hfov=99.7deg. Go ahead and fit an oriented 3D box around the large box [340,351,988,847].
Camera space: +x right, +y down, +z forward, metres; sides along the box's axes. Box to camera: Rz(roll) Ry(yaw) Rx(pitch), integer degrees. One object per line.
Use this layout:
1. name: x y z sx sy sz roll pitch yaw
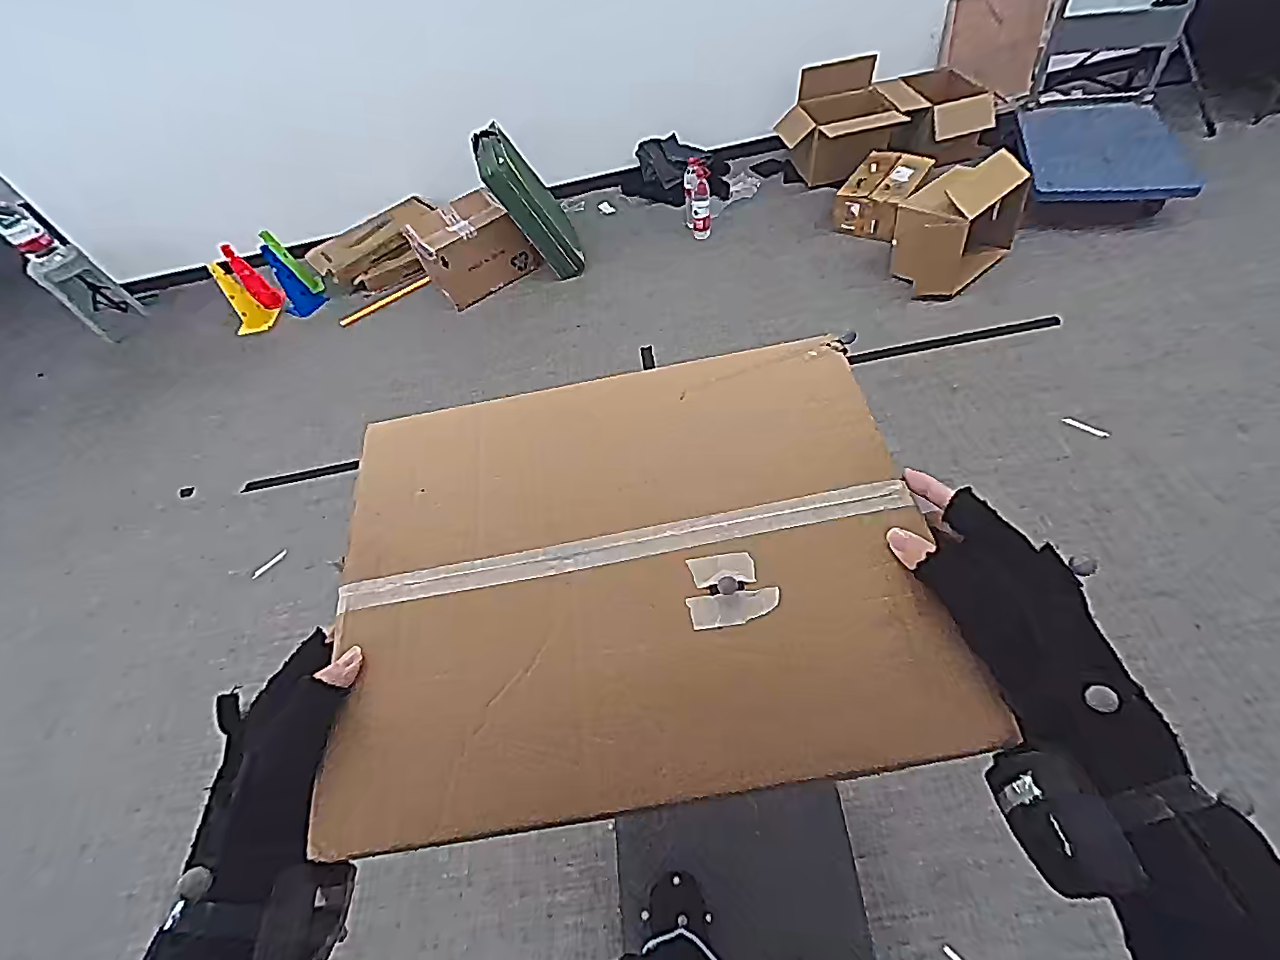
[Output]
1. large box: 0.006 0.128 0.524 0.408 0.320 0.320 -11 60 2
